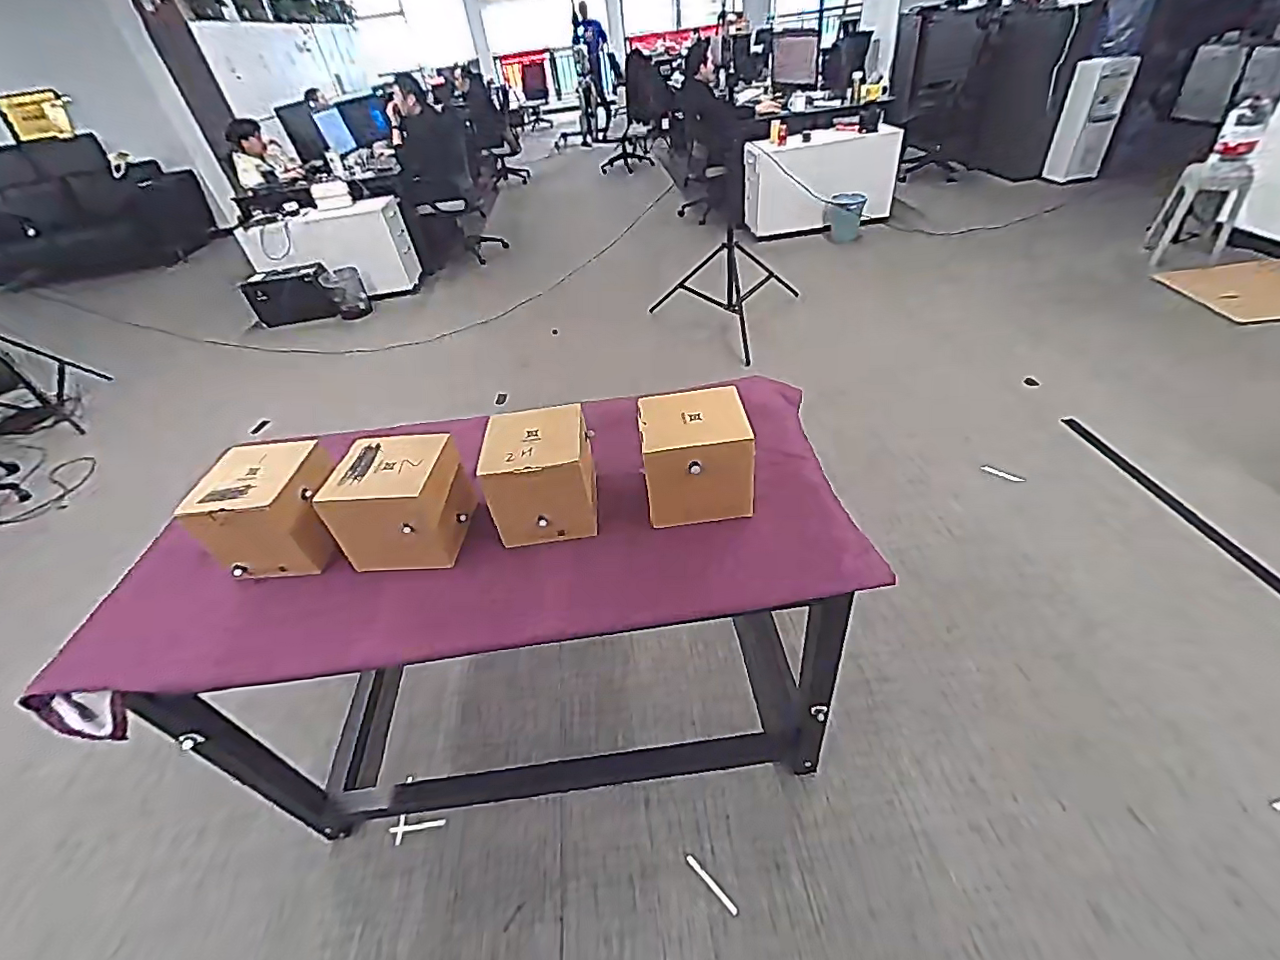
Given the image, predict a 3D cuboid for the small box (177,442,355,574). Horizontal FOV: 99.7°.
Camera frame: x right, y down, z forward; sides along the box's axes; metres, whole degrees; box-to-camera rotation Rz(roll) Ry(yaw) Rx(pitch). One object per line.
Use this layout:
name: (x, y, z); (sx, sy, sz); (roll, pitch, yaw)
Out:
small box: (-0.646, 0.055, 0.965); (0.168, 0.176, 0.179); (-4, 41, 4)

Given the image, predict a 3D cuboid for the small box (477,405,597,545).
small box: (-0.172, -0.010, 0.959); (0.168, 0.176, 0.179); (-8, 40, 1)

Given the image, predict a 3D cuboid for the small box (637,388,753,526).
small box: (0.093, -0.040, 0.947); (0.179, 0.176, 0.168); (-8, 38, 1)
